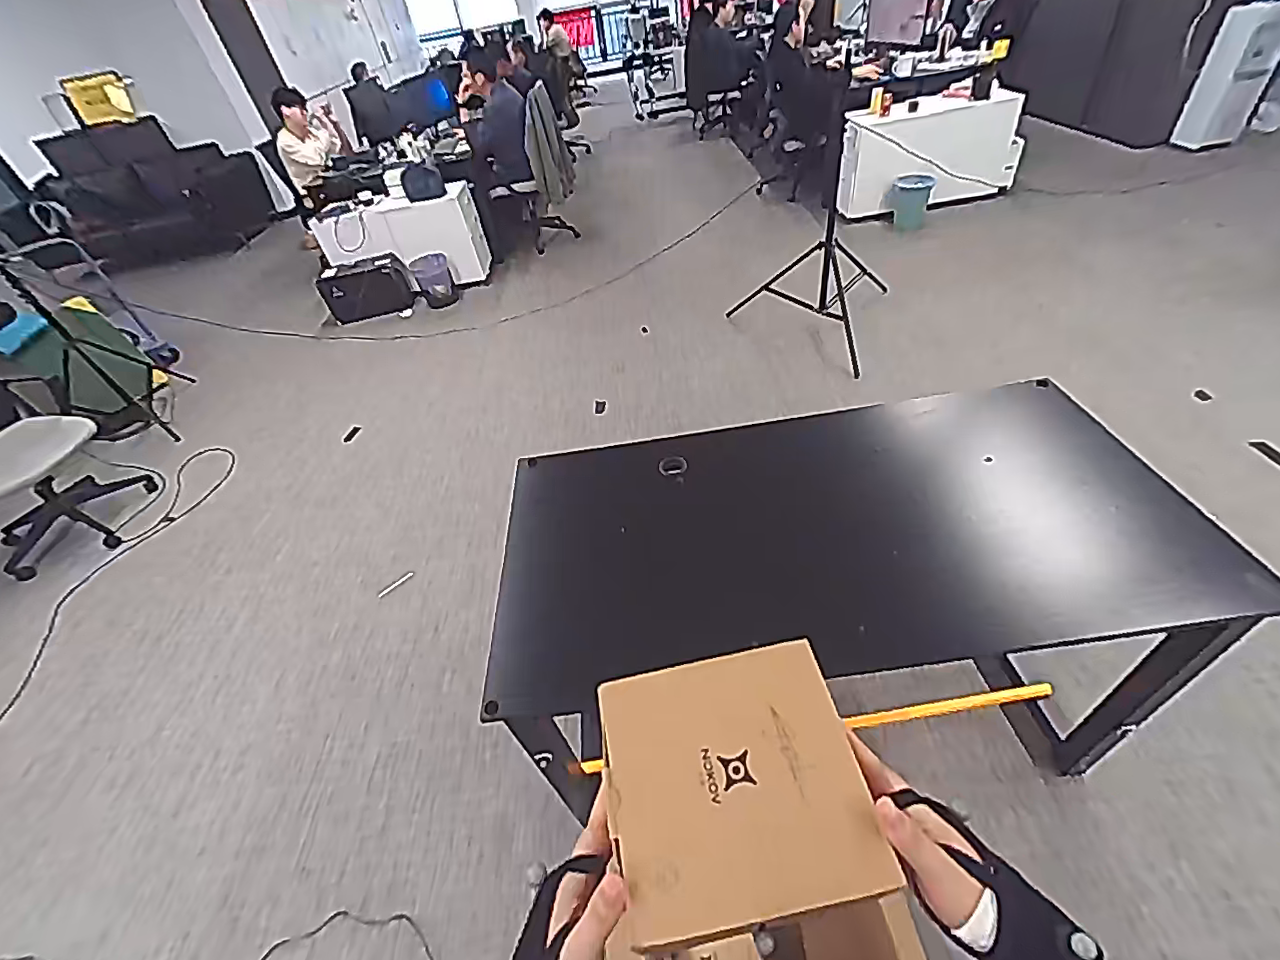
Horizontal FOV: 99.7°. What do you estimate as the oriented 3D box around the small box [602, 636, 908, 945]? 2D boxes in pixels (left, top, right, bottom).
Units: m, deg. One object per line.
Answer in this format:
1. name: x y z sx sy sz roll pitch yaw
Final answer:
1. small box: 0.076 0.253 0.436 0.179 0.176 0.168 -11 49 -3
